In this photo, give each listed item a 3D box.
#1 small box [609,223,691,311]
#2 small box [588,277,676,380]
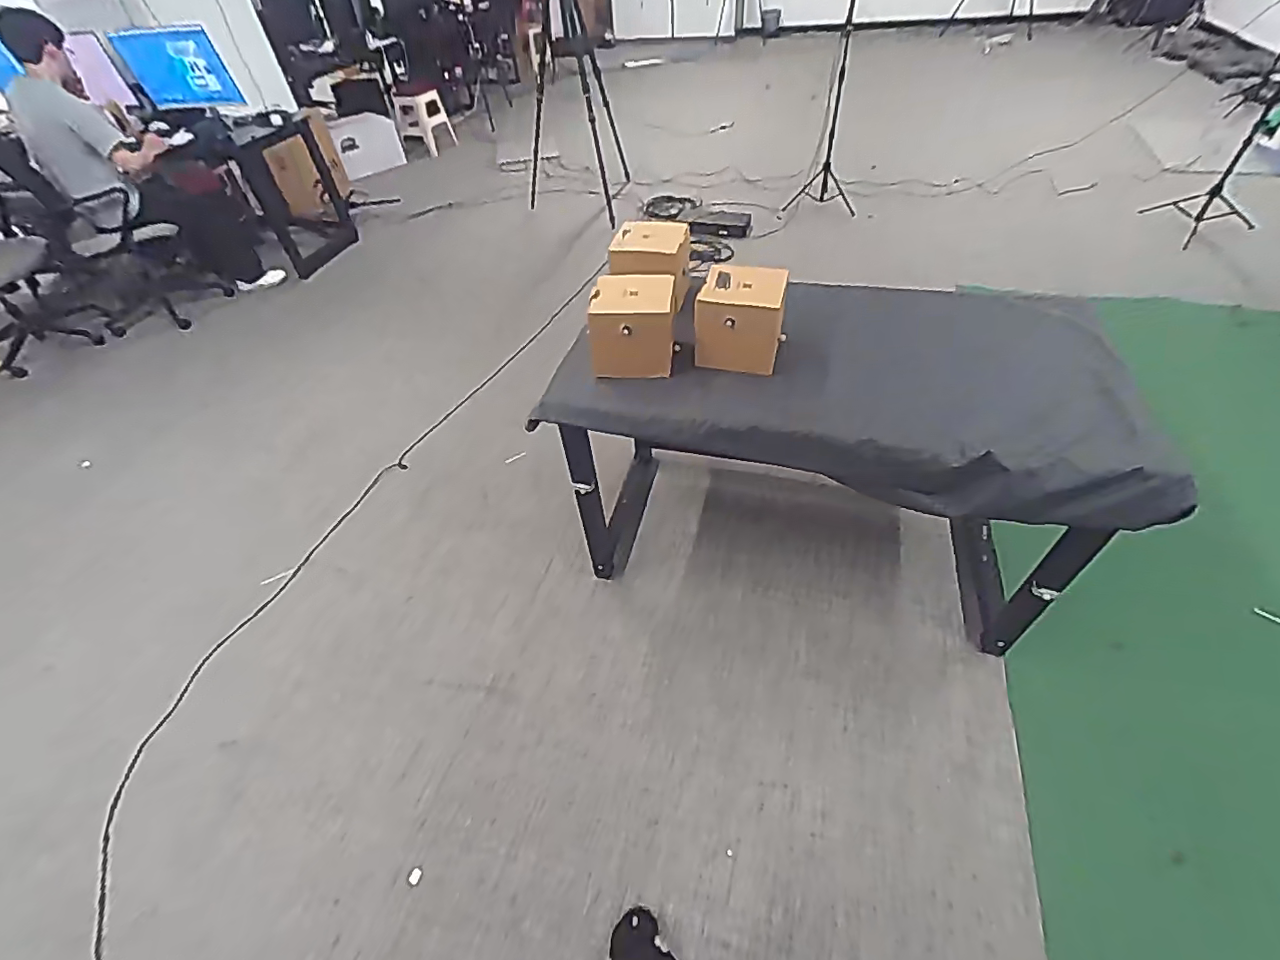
[{"bbox_3d":[0.031,-0.546,1.412,0.179,0.176,0.168,9,49,12],"label":"small box"},{"bbox_3d":[-0.011,-0.343,1.228,0.179,0.176,0.168,3,48,6],"label":"small box"}]
